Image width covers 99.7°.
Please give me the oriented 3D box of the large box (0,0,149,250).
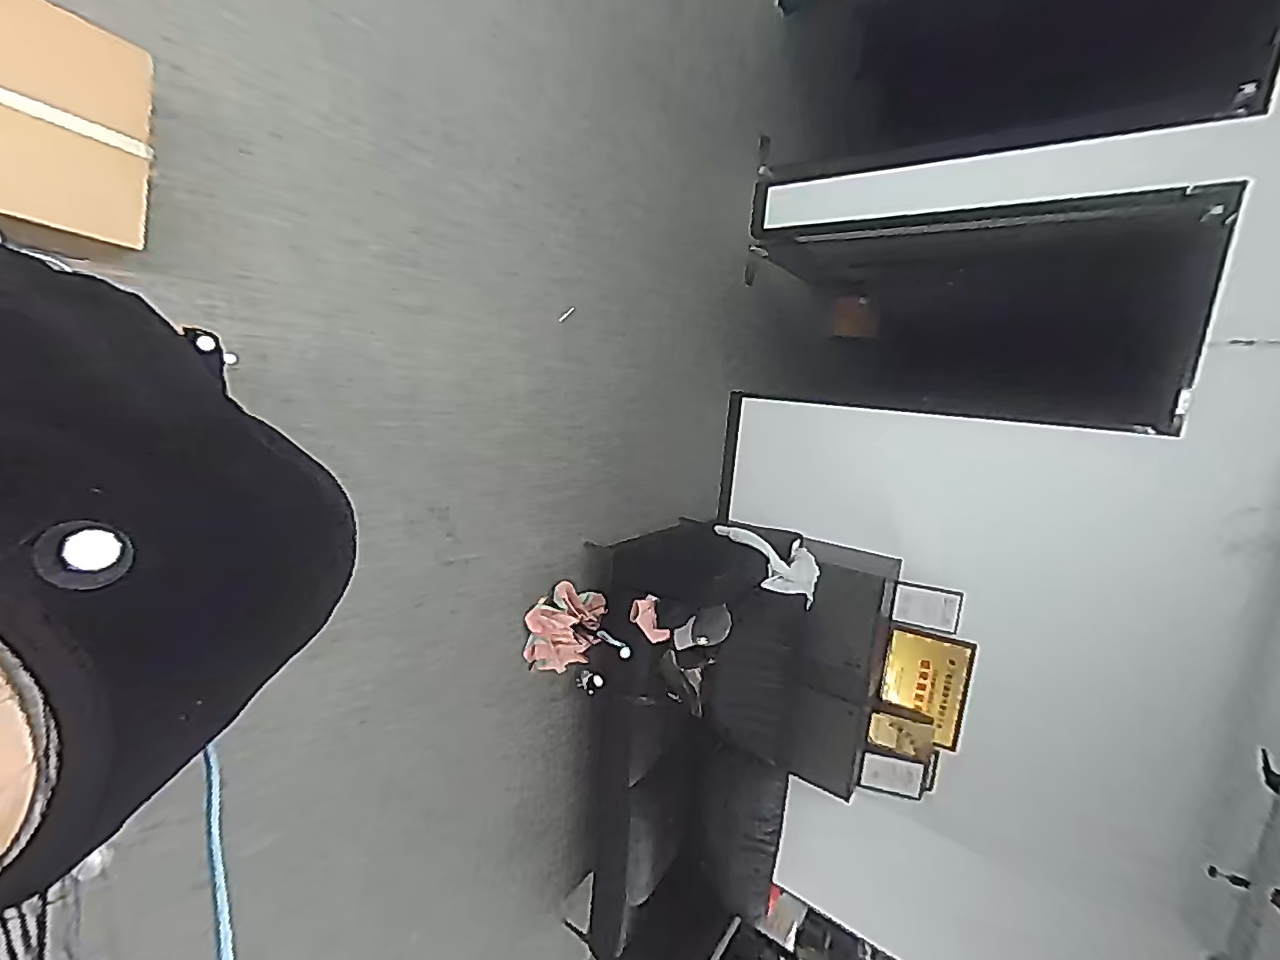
[{"bbox_3d":[-1.049,-0.574,0.818,0.408,0.320,0.320,1,99,-54],"label":"large box"}]
